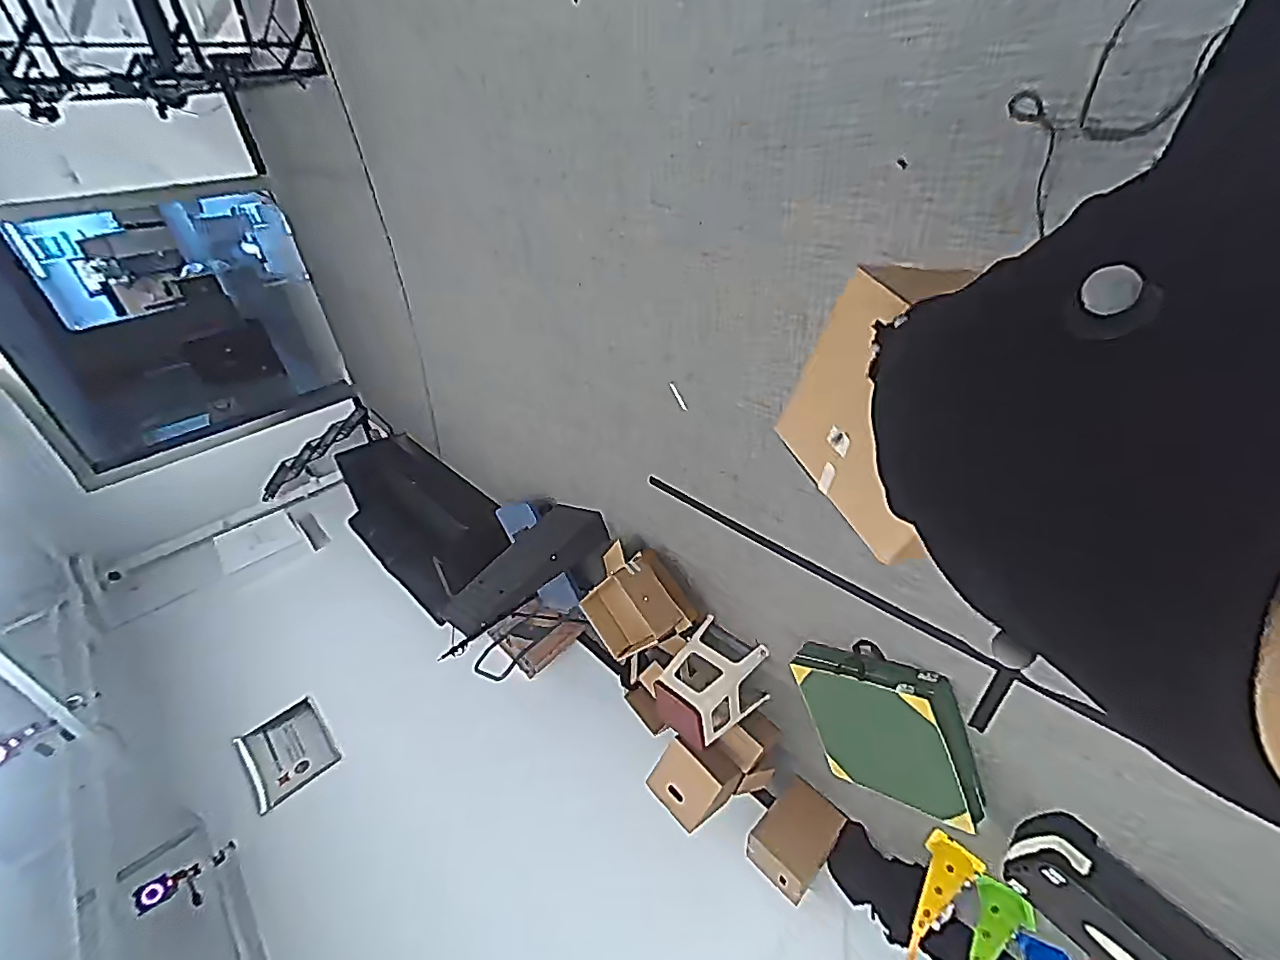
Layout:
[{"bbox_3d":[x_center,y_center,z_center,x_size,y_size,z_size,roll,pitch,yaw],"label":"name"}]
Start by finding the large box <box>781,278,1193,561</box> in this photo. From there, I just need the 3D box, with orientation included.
[{"bbox_3d":[0.515,-0.104,0.873,0.320,0.408,0.320,108,148,-42],"label":"large box"}]
